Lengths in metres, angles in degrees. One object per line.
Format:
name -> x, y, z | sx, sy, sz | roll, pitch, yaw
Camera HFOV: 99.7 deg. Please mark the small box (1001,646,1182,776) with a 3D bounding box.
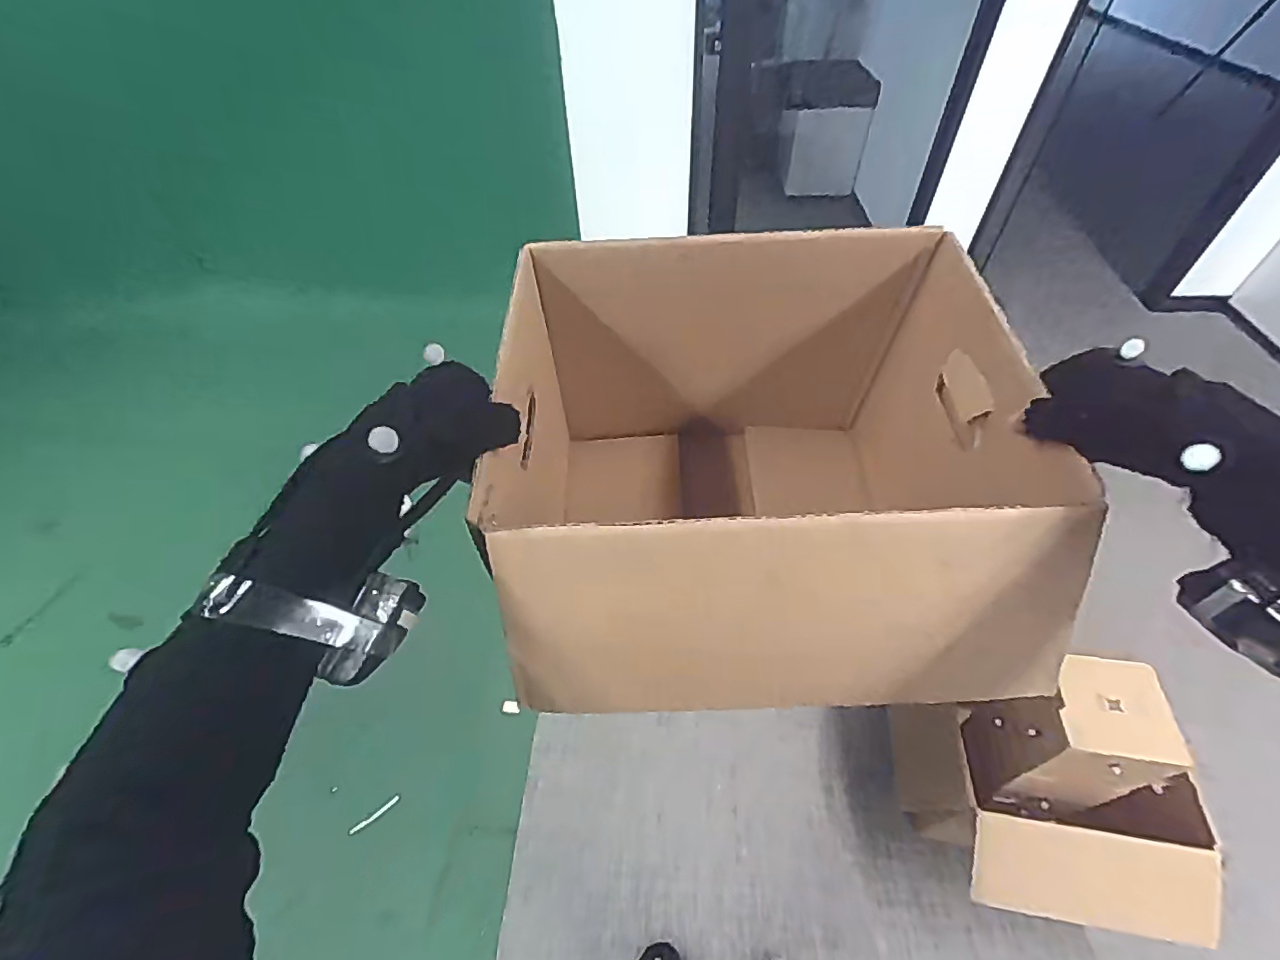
small box -> 0.786, 0.418, 0.972 | 0.179, 0.176, 0.168 | 4, 51, 8
